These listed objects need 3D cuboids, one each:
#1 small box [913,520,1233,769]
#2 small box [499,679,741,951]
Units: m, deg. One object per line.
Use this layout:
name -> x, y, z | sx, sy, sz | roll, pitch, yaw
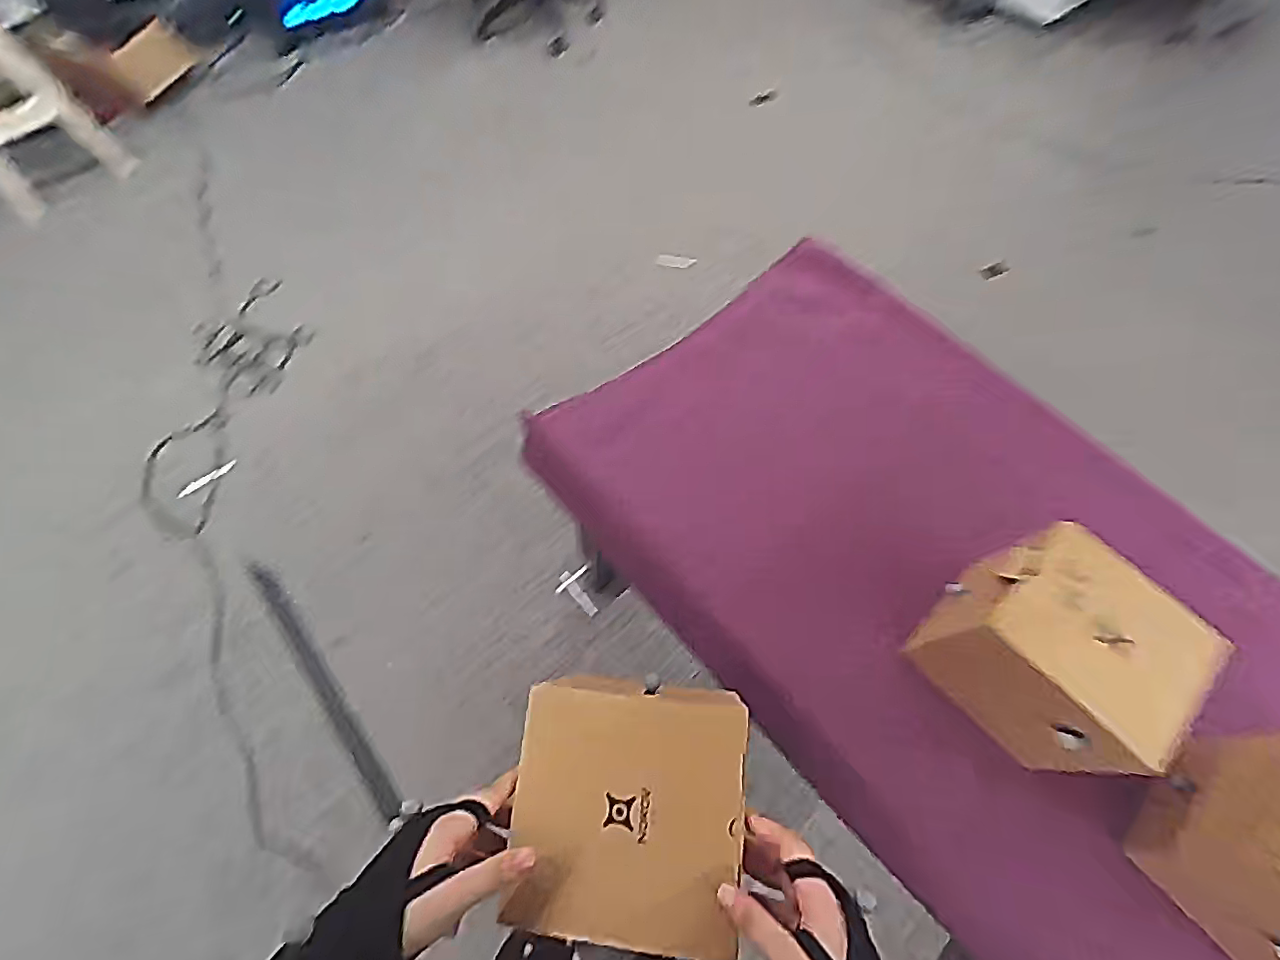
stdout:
small box -> 0.447, 0.179, 0.588 | 0.168, 0.176, 0.179 | -38, 71, -20
small box -> -0.004, 0.272, 0.485 | 0.179, 0.176, 0.168 | 2, 72, 6
